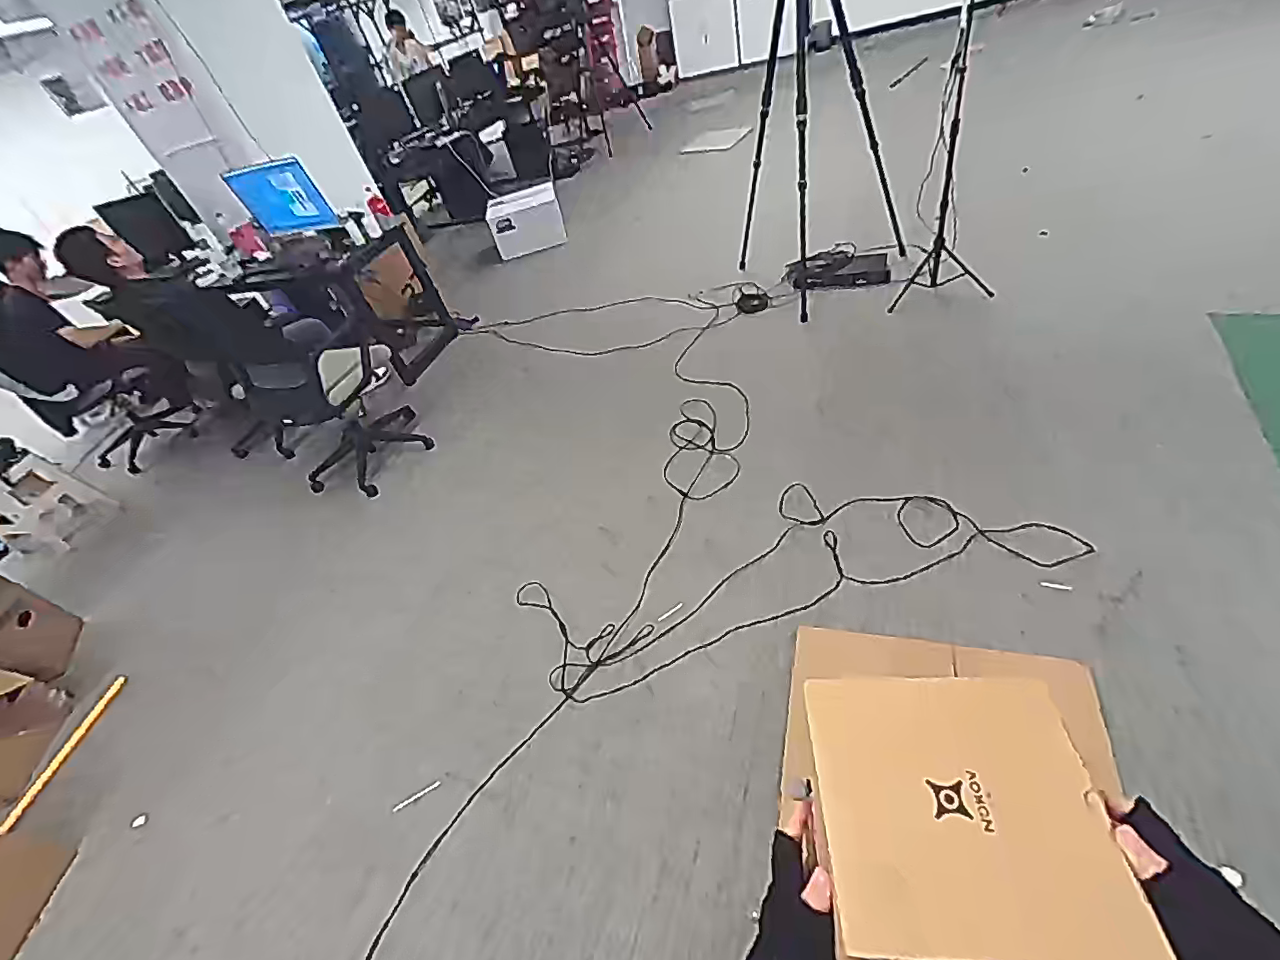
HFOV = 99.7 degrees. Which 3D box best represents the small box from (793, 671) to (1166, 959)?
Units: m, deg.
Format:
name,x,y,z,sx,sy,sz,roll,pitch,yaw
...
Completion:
name,x,y,z,sx,sy,sz,roll,pitch,yaw
small box,0.215,0.260,0.412,0.179,0.176,0.168,-3,47,8
